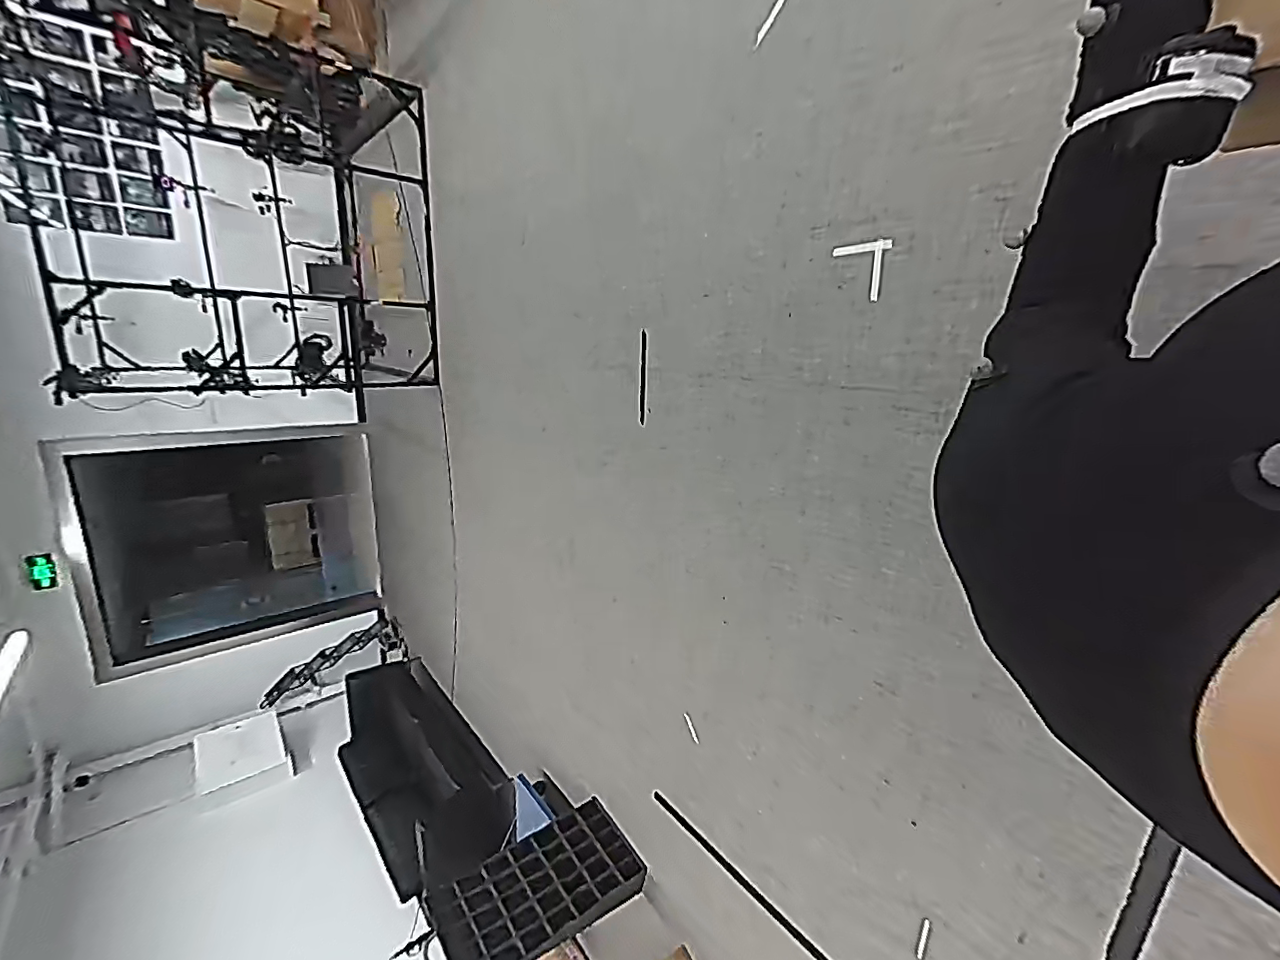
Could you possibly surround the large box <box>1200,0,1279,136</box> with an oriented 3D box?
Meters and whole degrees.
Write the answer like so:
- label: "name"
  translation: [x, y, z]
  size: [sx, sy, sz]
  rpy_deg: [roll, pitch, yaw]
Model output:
- label: "large box"
  translation: [0.613, -0.432, 0.282]
  size: [0.408, 0.320, 0.320]
  rpy_deg: [14, 115, 46]
